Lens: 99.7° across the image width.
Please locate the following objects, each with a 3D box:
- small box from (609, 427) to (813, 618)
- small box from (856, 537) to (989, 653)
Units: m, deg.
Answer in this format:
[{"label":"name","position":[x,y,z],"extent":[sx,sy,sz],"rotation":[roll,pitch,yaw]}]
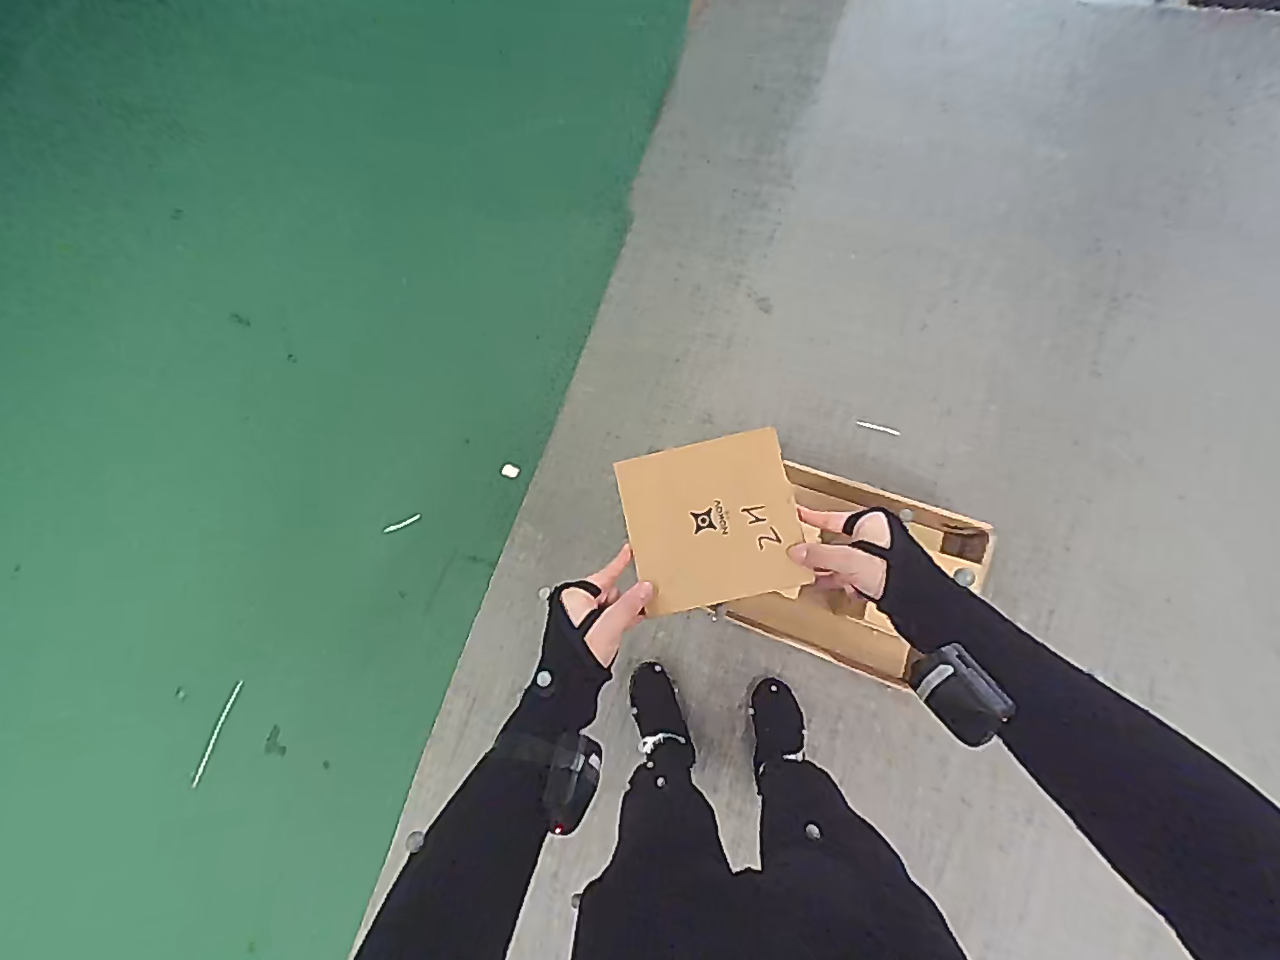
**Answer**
[{"label":"small box","position":[0.076,0.057,0.621],"extent":[0.179,0.176,0.168],"rotation":[-13,79,2]},{"label":"small box","position":[0.542,0.224,1.063],"extent":[0.179,0.176,0.168],"rotation":[17,83,15]}]
